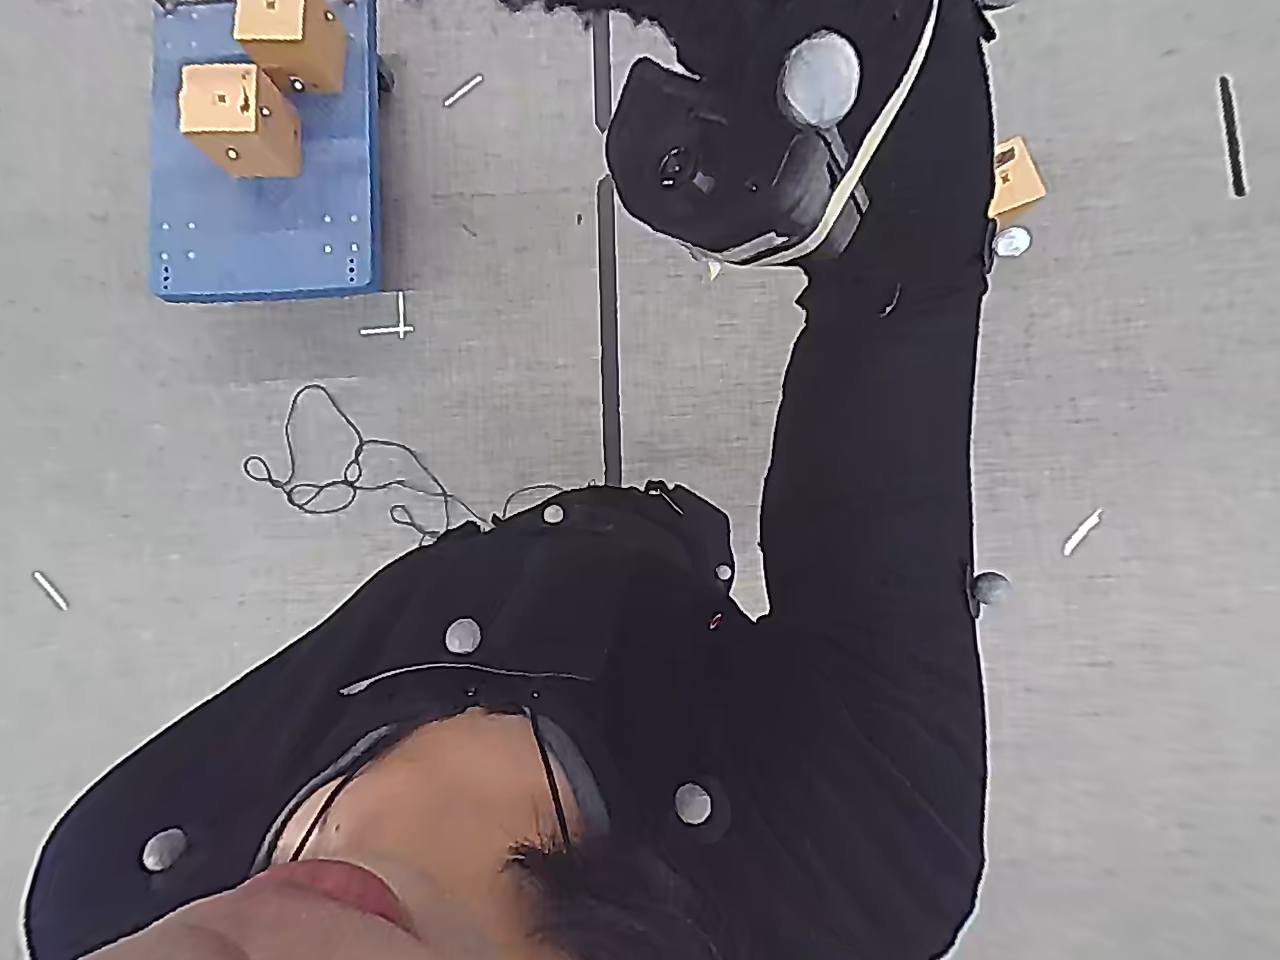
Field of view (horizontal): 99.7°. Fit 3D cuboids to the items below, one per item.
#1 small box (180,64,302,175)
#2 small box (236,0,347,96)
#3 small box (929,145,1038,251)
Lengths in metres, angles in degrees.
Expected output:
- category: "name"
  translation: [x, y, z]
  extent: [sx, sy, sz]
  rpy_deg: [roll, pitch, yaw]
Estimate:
- category: "small box"
  translation: [-0.971, -0.875, 1.327]
  extent: [0.179, 0.176, 0.168]
  rpy_deg: [0, 87, 1]
- category: "small box"
  translation: [-0.856, -1.104, 1.343]
  extent: [0.168, 0.176, 0.179]
  rpy_deg: [2, 88, 2]
- category: "small box"
  translation: [0.946, -0.779, 1.509]
  extent: [0.168, 0.176, 0.179]
  rpy_deg: [-21, 87, -1]
